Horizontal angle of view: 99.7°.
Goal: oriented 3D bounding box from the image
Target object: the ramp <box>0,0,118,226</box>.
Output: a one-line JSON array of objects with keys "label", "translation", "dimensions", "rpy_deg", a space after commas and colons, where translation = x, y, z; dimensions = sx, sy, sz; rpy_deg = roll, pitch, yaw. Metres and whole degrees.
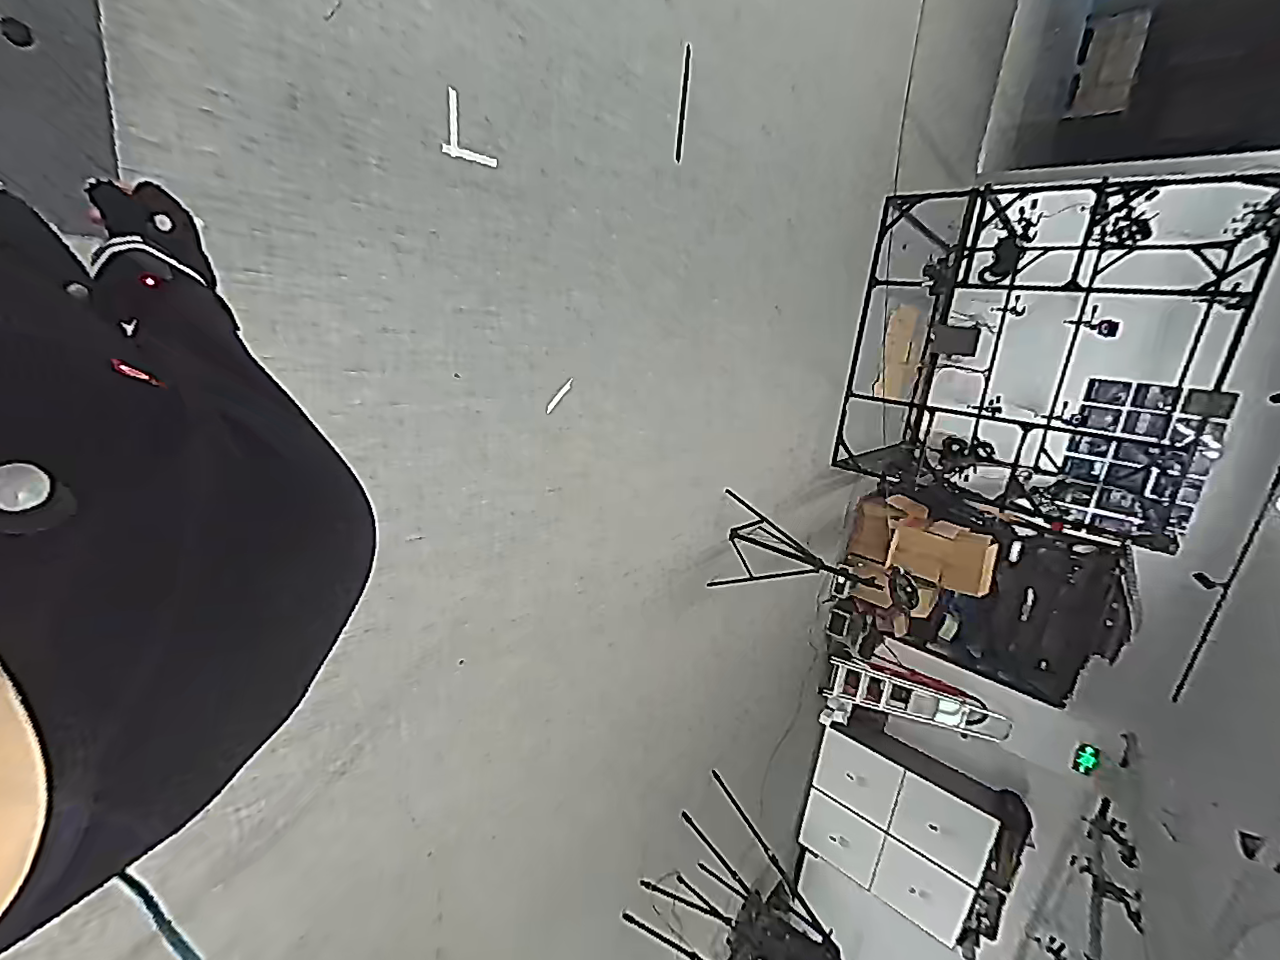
[{"label": "ramp", "translation": [-1.034, -0.889, 0.663], "dimensions": [0.509, 0.206, 0.991], "rpy_deg": [-16, 118, -49]}]
